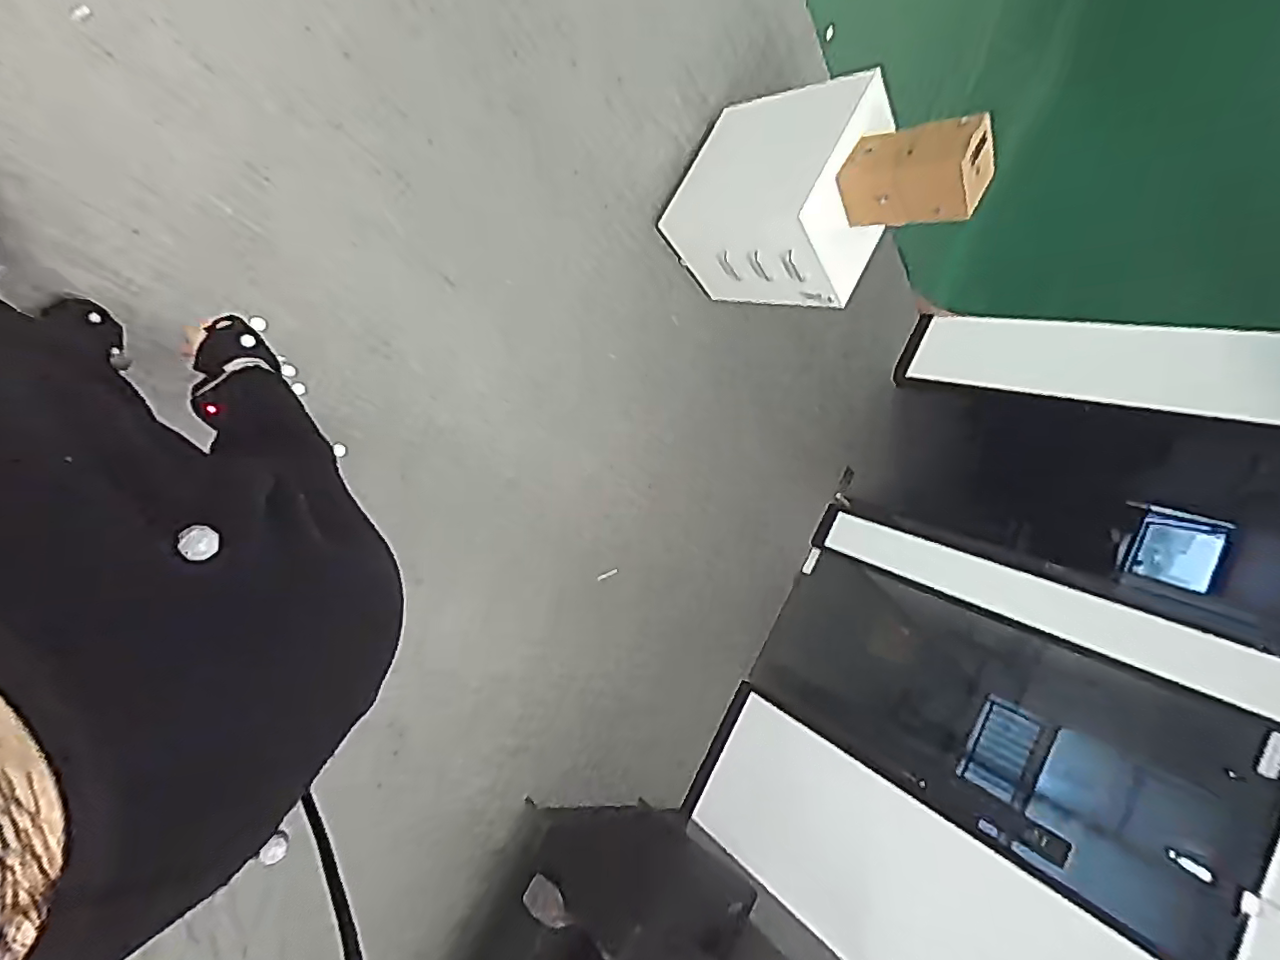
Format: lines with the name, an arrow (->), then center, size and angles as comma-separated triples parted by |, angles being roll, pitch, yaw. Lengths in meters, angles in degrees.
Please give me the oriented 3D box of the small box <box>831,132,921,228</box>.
small box -> 0.672, -0.849, 1.540 | 0.168, 0.176, 0.179 | -57, 136, -11
